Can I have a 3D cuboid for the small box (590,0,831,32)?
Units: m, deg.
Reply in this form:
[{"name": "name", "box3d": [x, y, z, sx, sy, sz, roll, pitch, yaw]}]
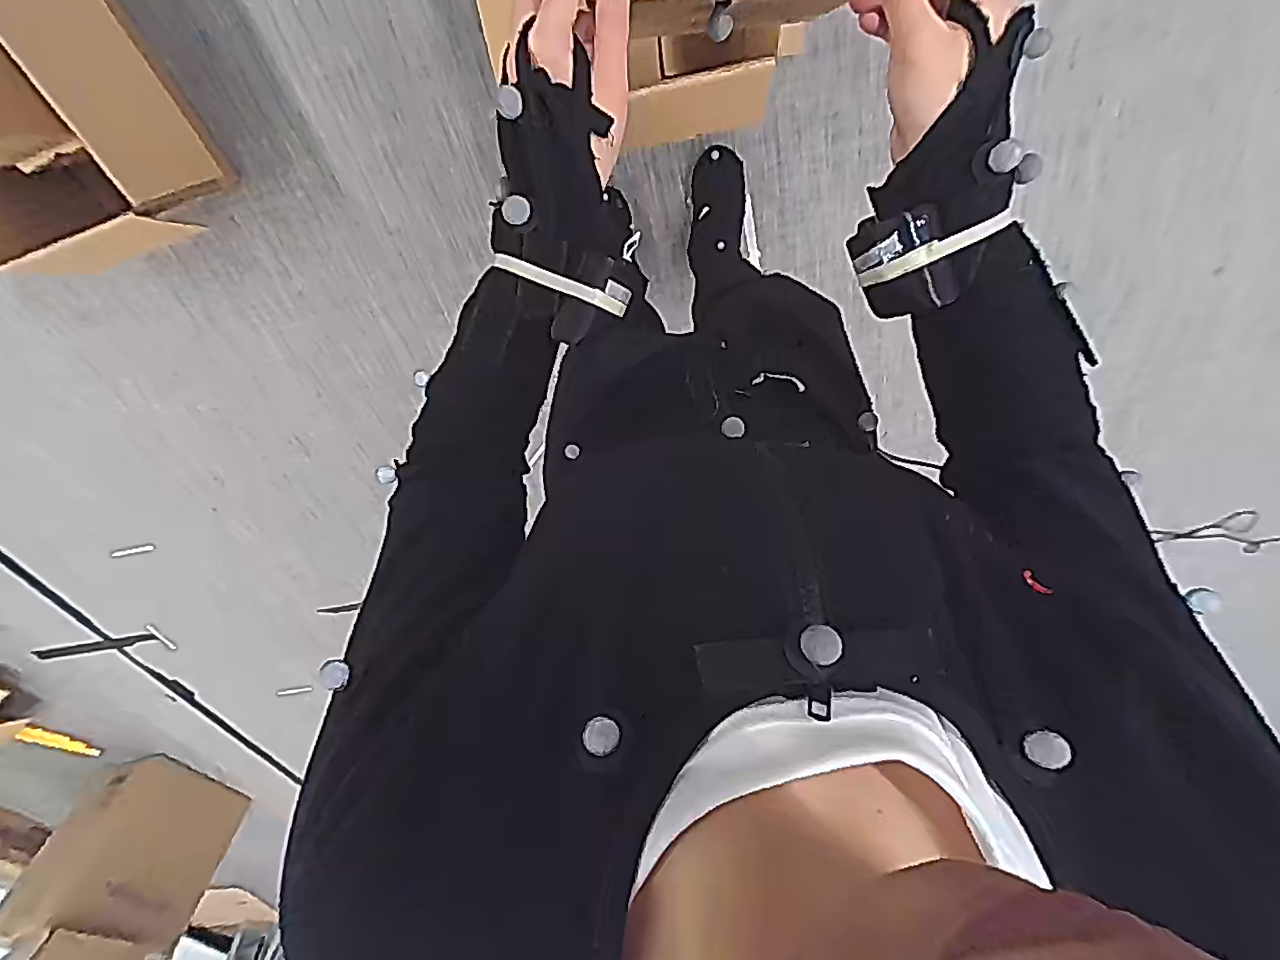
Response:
[{"name": "small box", "box3d": [0.049, -0.385, 0.319, 0.179, 0.176, 0.168, -4, 123, 2]}]
